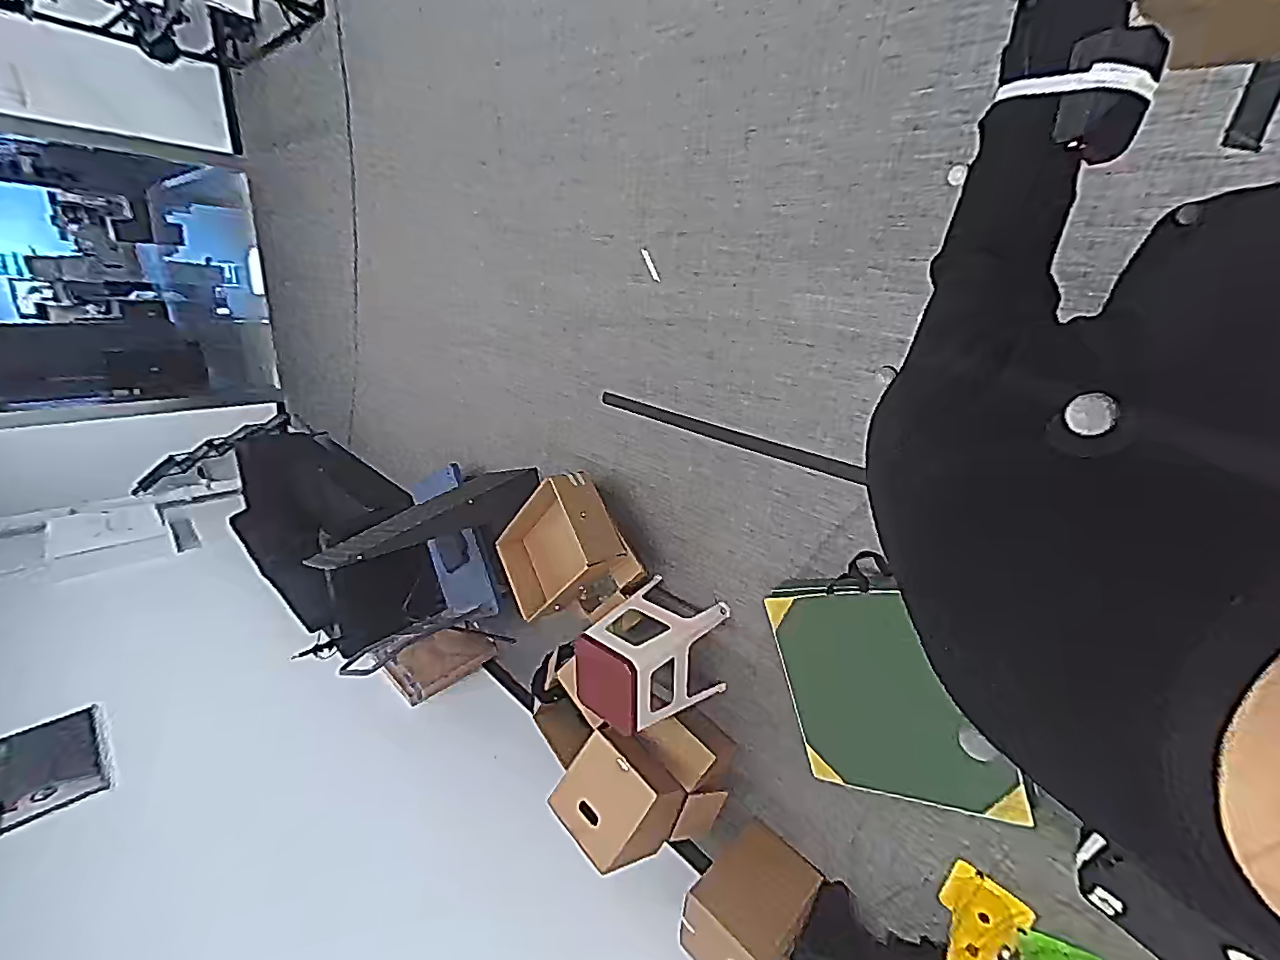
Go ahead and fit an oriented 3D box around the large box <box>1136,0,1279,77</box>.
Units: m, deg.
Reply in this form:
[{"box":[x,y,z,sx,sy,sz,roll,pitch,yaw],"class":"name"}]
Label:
[{"box":[0.563,-0.434,0.260,0.408,0.320,0.320,24,126,38],"class":"large box"}]
